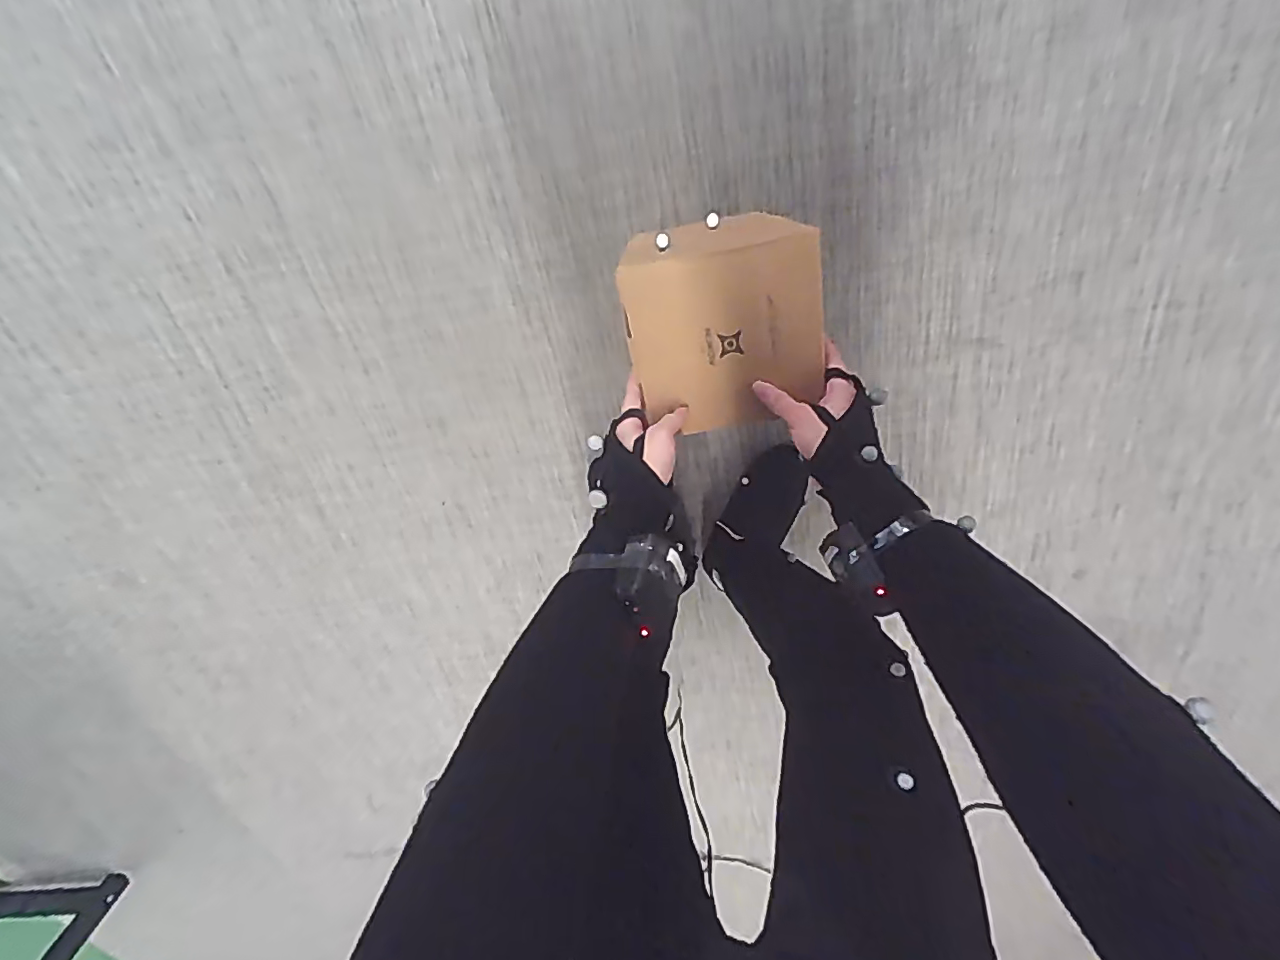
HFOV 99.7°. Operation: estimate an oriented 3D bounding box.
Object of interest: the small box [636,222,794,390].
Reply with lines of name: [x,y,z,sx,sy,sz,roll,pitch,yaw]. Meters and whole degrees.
small box: [0.094,-0.234,0.709,0.179,0.176,0.168,-8,117,7]
